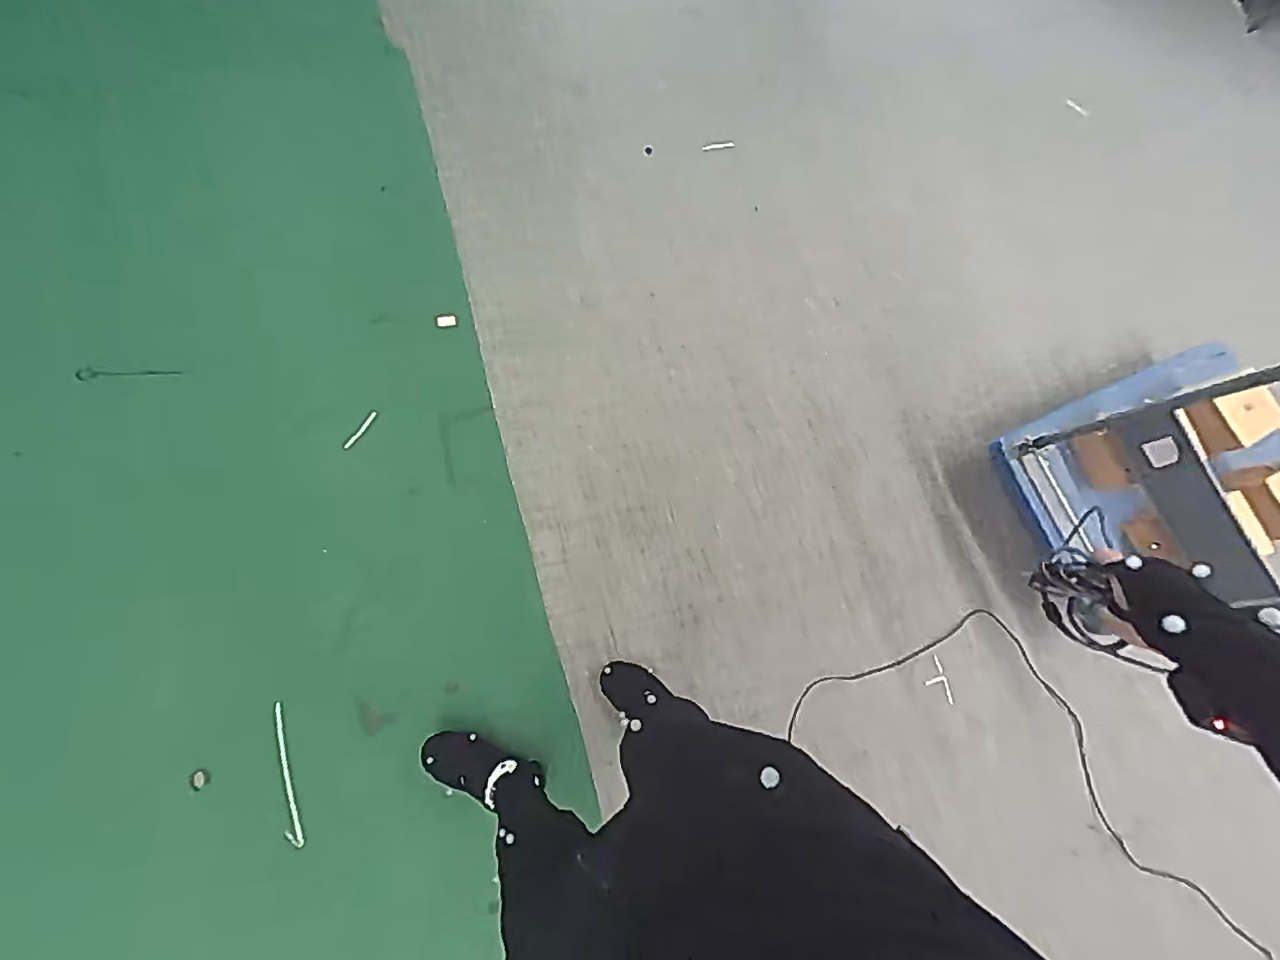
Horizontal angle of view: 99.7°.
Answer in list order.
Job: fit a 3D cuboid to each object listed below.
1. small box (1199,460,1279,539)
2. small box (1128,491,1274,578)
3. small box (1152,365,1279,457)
[{"bbox_3d":[1.671,0.050,1.437,0.179,0.176,0.168,-25,82,-11],"label":"small box"},{"bbox_3d":[1.429,0.142,1.389,0.179,0.176,0.168,-22,82,-10],"label":"small box"},{"bbox_3d":[1.558,-0.179,1.469,0.179,0.176,0.168,-27,84,-11],"label":"small box"}]
